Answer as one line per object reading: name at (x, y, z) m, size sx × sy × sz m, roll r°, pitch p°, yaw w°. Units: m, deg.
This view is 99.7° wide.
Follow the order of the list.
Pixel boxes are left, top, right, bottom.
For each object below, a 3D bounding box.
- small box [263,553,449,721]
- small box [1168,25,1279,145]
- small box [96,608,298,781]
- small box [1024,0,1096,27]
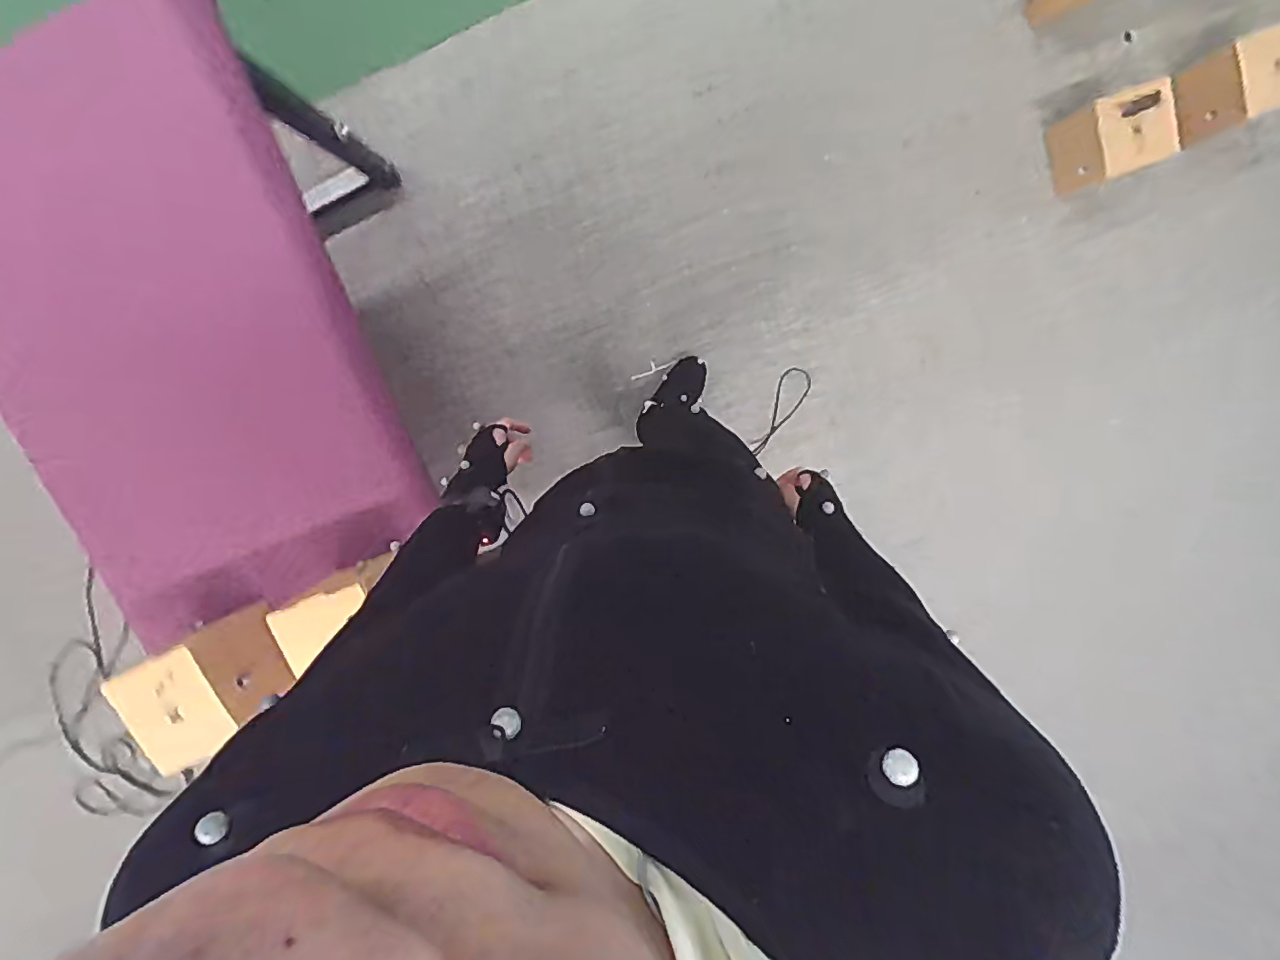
small box at (-0.435, 0.241, 0.862) m, size 0.168 × 0.176 × 0.179 m, roll -20°, pitch 99°, yaw 8°
small box at (1.428, -0.937, 1.291) m, size 0.168 × 0.176 × 0.179 m, roll -20°, pitch 99°, yaw 5°
small box at (-0.705, 0.344, 0.893) m, size 0.168 × 0.176 × 0.179 m, roll -24°, pitch 99°, yaw 6°
small box at (1.021, -1.213, 1.255) m, size 0.179 × 0.176 × 0.168 m, roll -19°, pitch 100°, yaw 5°
